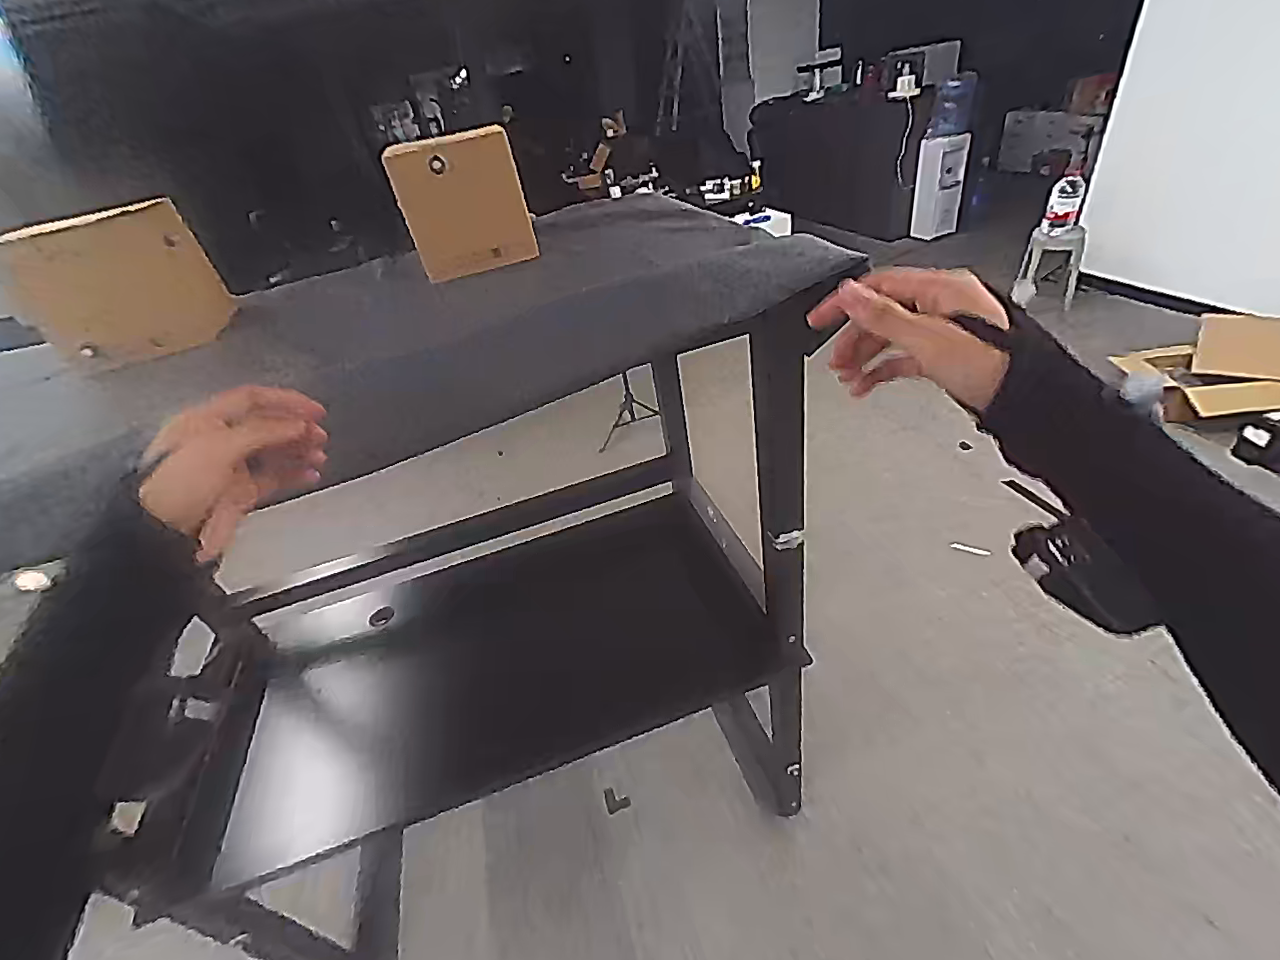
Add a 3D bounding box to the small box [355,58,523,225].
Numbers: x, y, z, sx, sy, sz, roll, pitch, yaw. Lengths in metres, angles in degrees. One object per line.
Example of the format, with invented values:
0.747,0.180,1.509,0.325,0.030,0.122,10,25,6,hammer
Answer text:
-0.276,-0.478,0.773,0.168,0.176,0.179,-18,38,-8,small box
